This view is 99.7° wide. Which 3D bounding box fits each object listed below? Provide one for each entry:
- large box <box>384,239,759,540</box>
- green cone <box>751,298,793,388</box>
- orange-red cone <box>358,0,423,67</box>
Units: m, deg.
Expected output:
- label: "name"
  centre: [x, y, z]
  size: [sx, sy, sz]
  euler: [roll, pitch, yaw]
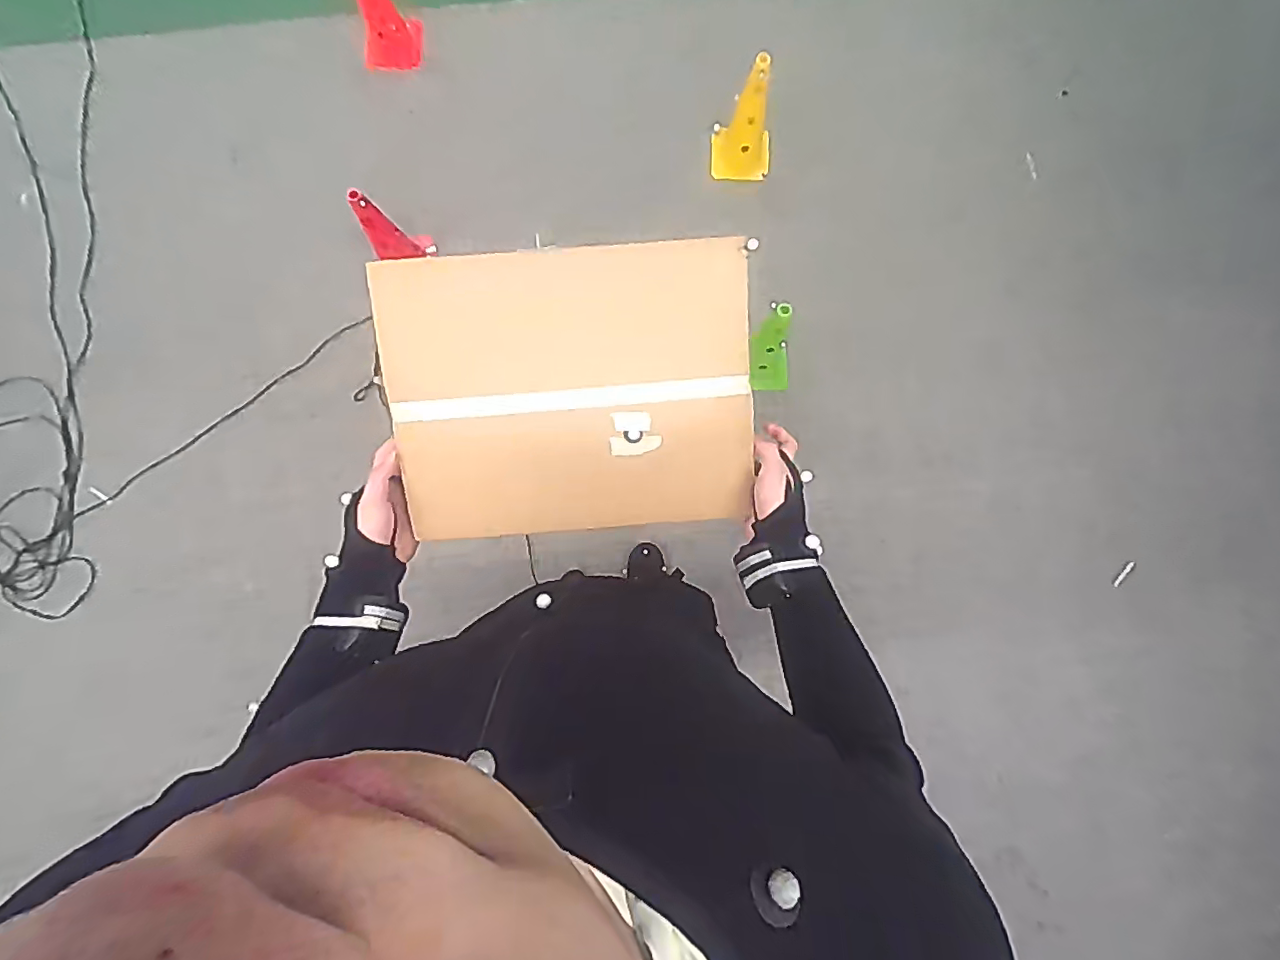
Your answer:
- label: "large box"
  centre: [-0.074, -0.126, 0.762]
  size: [0.408, 0.320, 0.320]
  euler: [-5, 103, -1]
- label: "green cone"
  centre: [0.384, -0.424, 1.589]
  size: [0.200, 0.368, 0.202]
  euler: [-1, 80, -1]
- label: "orange-red cone"
  centre: [-0.880, -1.582, 1.755]
  size: [0.199, 0.360, 0.198]
  euler: [0, 80, 1]
